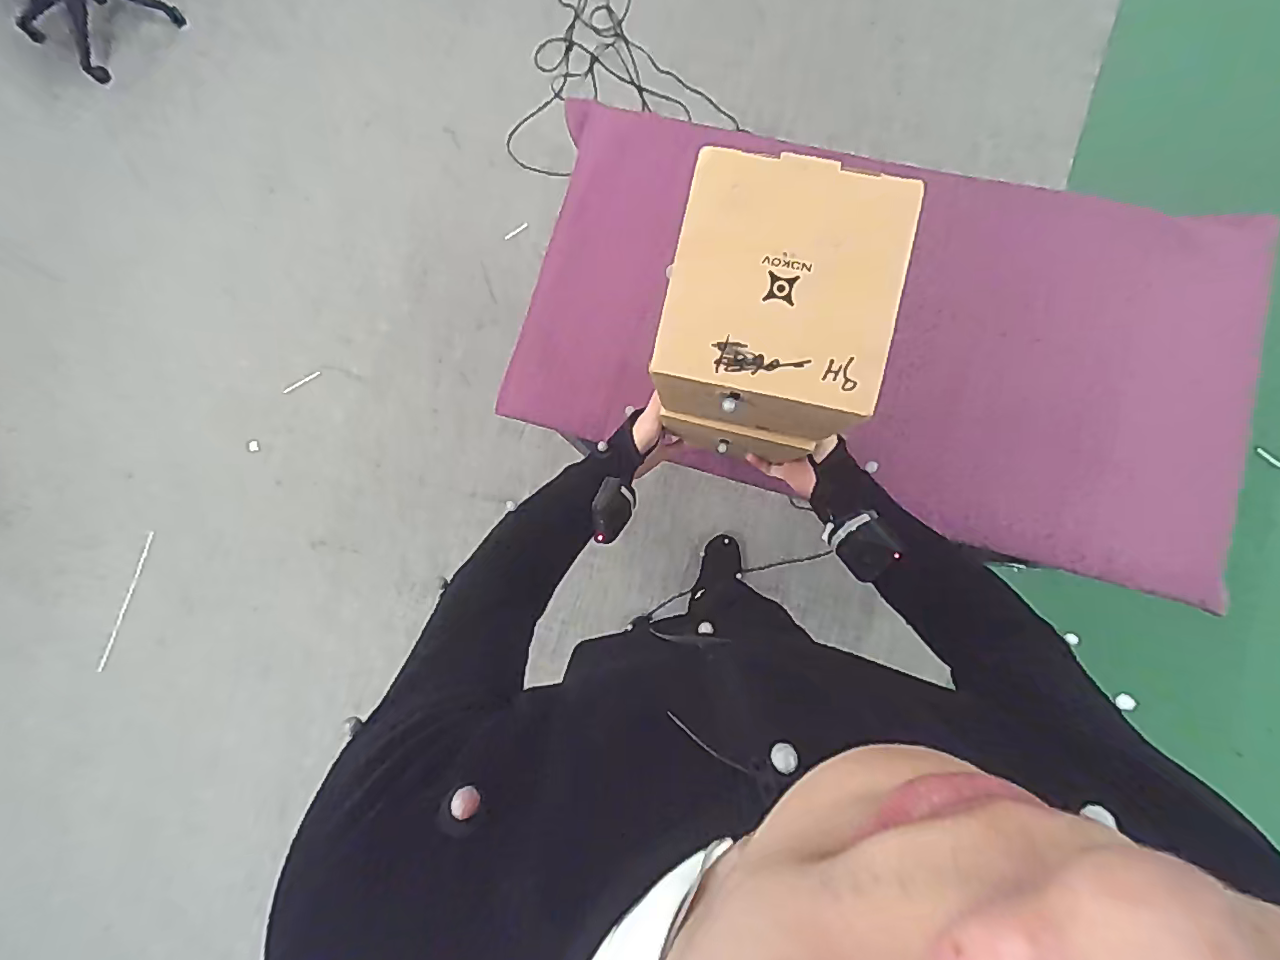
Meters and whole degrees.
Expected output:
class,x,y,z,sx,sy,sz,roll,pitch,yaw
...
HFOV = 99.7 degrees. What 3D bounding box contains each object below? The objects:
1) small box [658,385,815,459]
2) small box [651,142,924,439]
class,x,y,z,sx,sy,sz,roll,pitch,yaw
small box,0.127,-0.129,0.631,0.168,0.176,0.179,15,88,6
small box,0.113,-0.145,0.469,0.168,0.176,0.179,13,88,7
